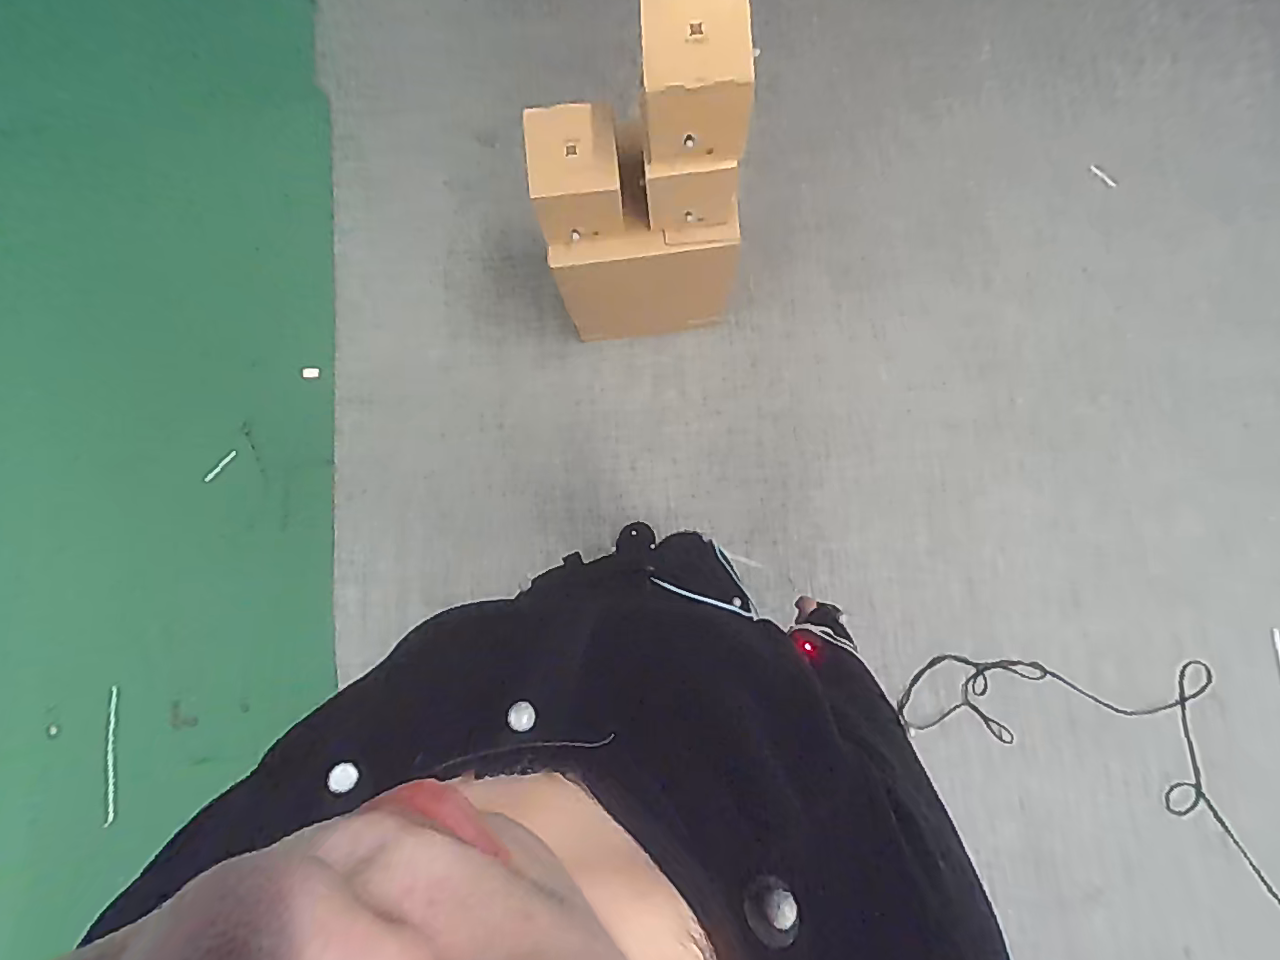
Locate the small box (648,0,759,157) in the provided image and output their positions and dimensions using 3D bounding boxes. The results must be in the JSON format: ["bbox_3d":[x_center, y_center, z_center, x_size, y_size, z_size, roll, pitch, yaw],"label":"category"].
[{"bbox_3d":[0.097,-0.671,0.889,0.168,0.176,0.179,-2,84,3],"label":"small box"}]
